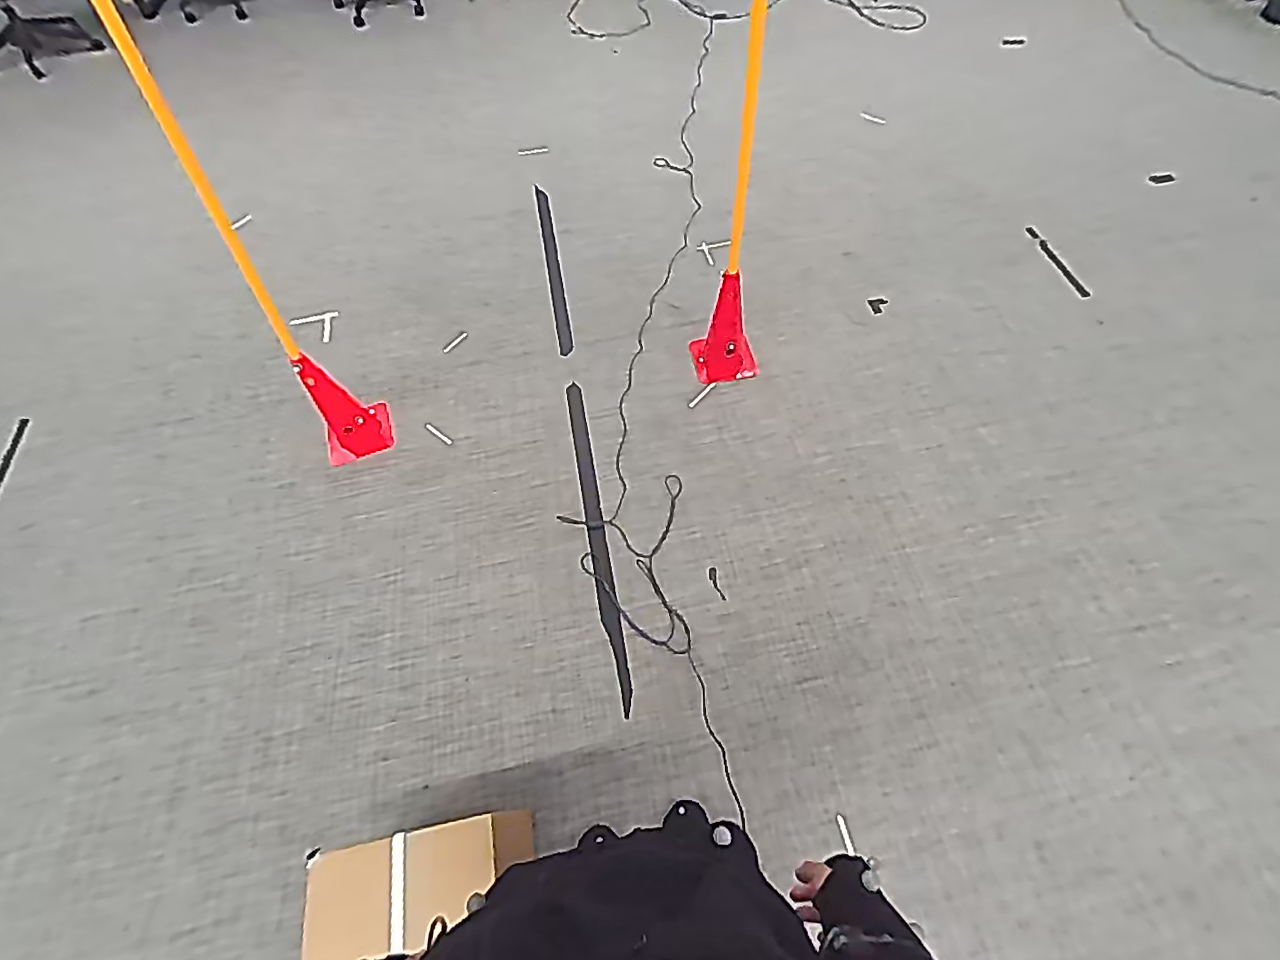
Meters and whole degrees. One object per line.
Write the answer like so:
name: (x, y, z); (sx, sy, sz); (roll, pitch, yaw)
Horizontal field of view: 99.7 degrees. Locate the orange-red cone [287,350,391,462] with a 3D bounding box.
orange-red cone: (-0.909, -0.242, 1.580); (0.199, 0.360, 0.198); (-19, 60, -7)
